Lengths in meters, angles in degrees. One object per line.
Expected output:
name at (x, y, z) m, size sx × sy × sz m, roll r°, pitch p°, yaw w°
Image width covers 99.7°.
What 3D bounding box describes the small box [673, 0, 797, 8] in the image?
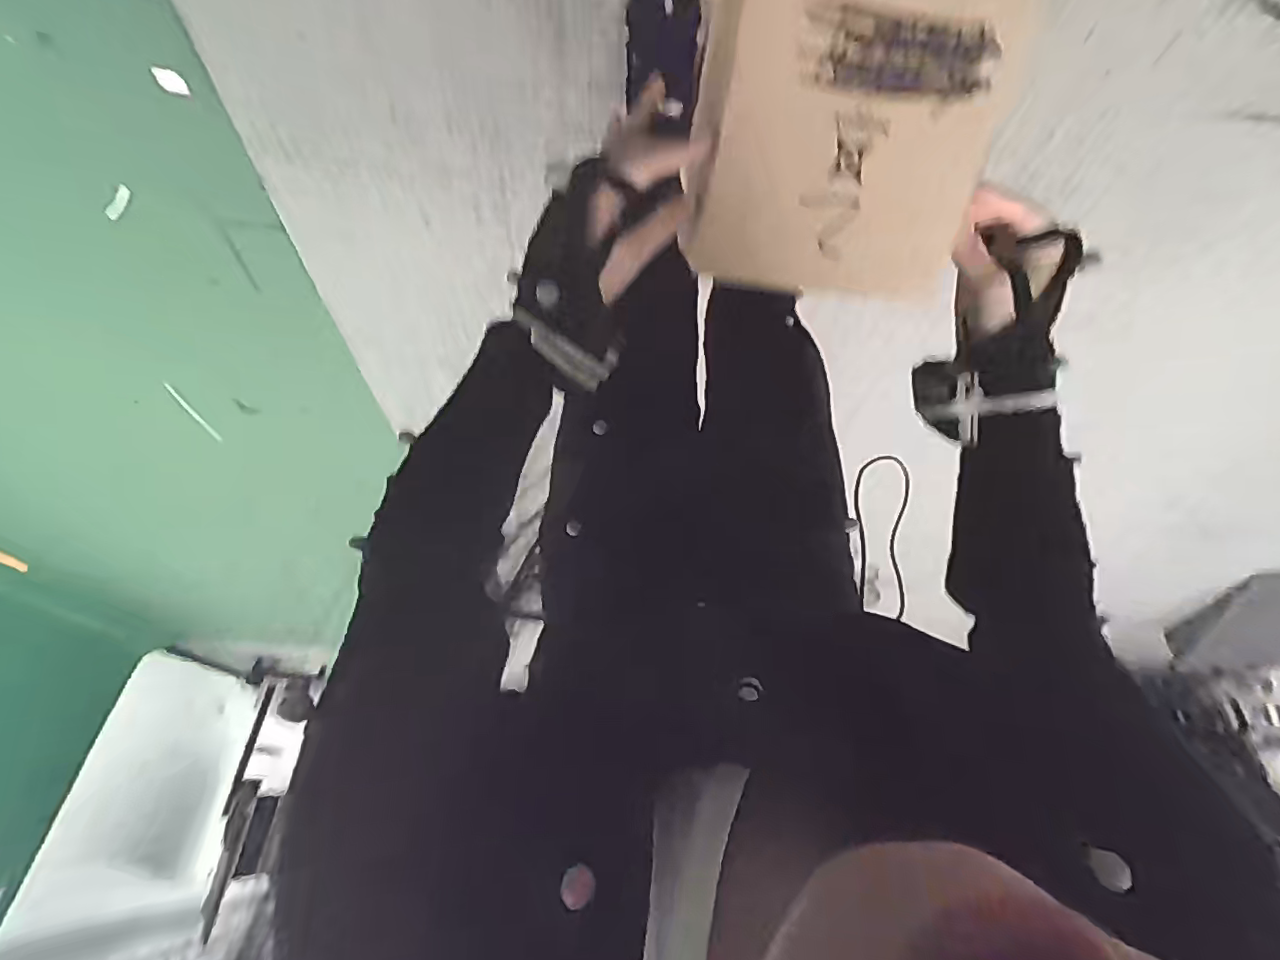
small box at (0.127, -0.734, 0.676) m, size 0.168 × 0.176 × 0.179 m, roll 1°, pitch 148°, yaw 3°
